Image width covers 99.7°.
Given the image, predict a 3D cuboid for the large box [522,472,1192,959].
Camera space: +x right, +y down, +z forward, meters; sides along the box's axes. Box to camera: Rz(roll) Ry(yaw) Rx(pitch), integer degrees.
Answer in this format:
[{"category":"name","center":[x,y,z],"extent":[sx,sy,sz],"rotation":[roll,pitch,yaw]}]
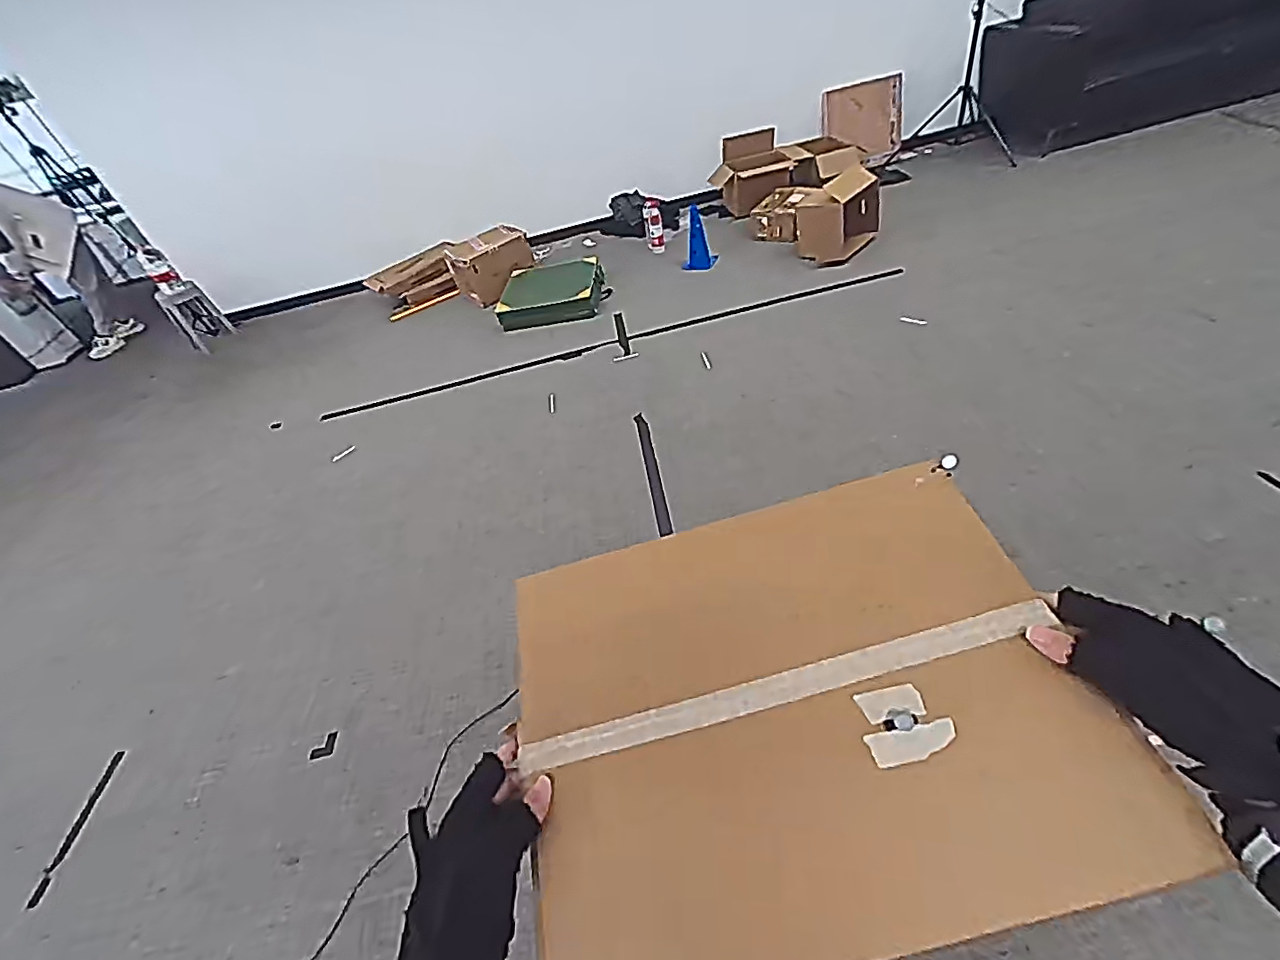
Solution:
[{"category":"large box","center":[0.137,0.252,0.530],"extent":[0.408,0.320,0.320],"rotation":[-17,51,1]}]
